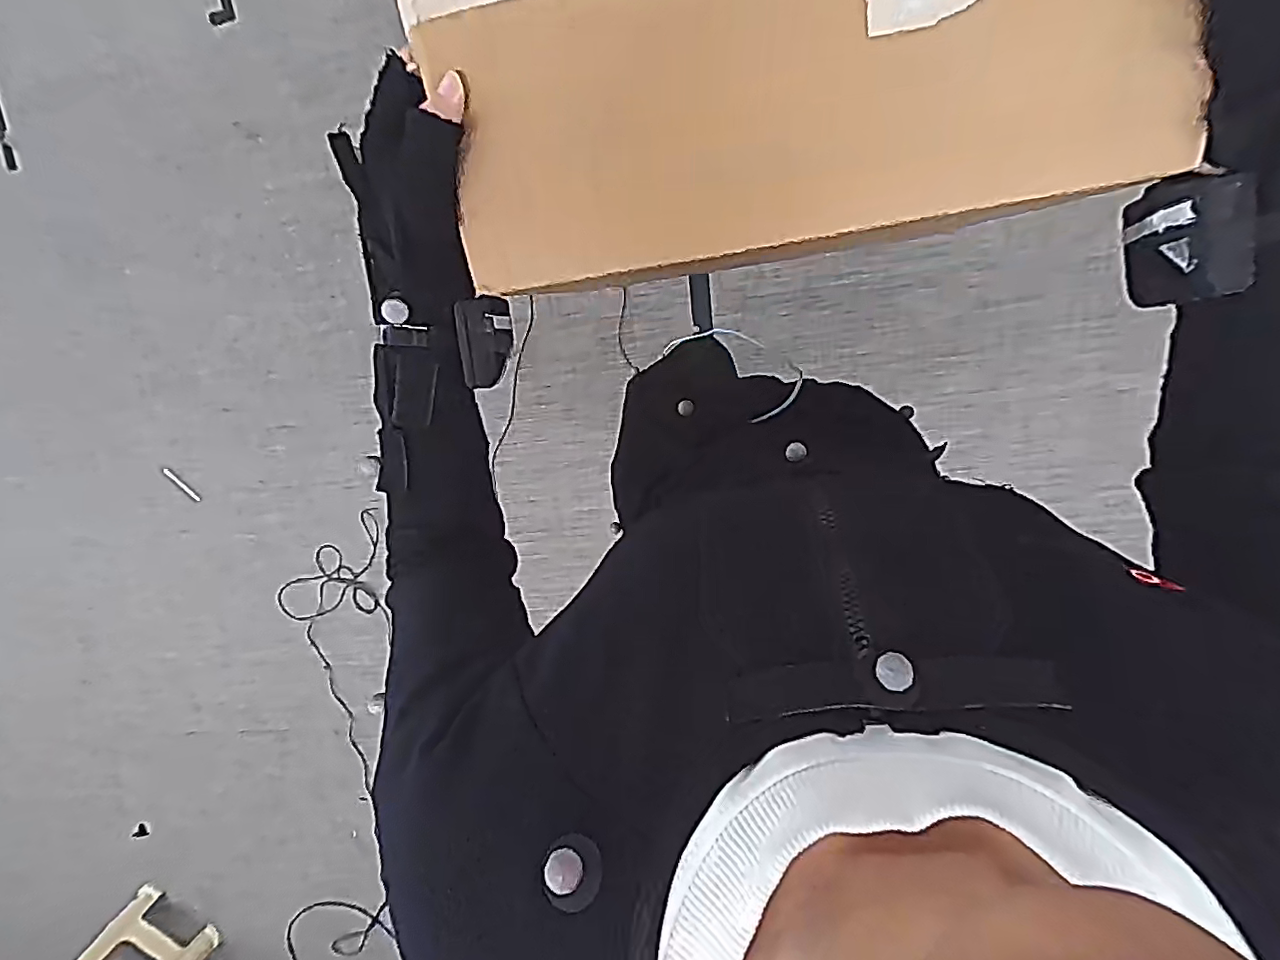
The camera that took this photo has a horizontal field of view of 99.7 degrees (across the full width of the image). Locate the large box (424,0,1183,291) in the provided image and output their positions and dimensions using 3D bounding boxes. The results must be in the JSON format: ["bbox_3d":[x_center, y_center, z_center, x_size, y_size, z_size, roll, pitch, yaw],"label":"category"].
[{"bbox_3d":[0.083,-0.344,0.423,0.408,0.320,0.320,-7,109,9],"label":"large box"}]
